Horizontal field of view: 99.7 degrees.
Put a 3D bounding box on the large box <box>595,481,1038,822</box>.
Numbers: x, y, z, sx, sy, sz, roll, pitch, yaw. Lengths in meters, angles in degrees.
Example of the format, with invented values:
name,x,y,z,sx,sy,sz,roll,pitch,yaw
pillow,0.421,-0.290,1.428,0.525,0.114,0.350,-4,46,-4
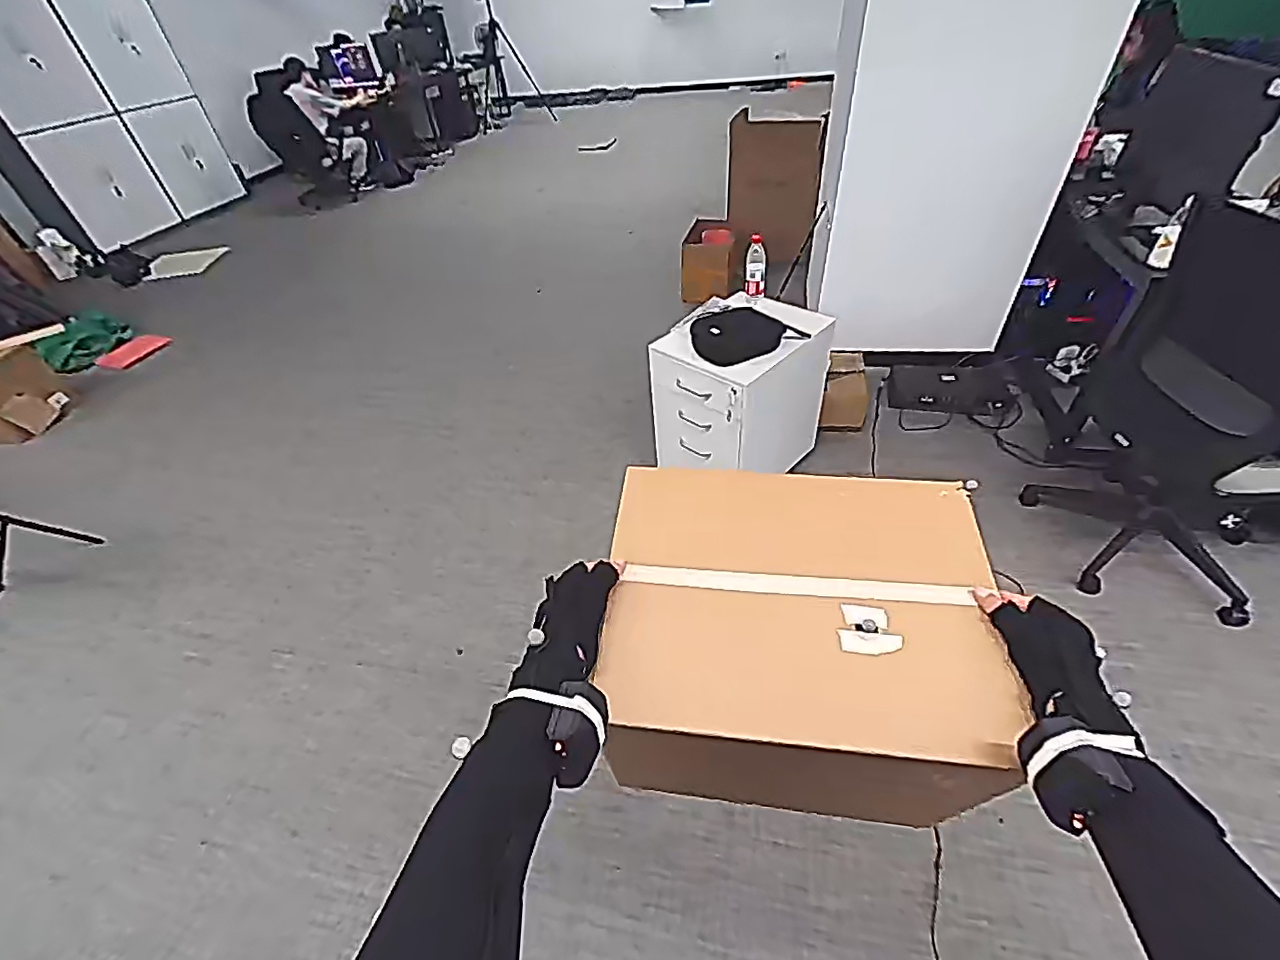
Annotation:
name,x,y,z,sx,sy,sz,roll,pitch,yaw
large box,0.176,0.220,0.699,0.408,0.320,0.320,3,51,8
